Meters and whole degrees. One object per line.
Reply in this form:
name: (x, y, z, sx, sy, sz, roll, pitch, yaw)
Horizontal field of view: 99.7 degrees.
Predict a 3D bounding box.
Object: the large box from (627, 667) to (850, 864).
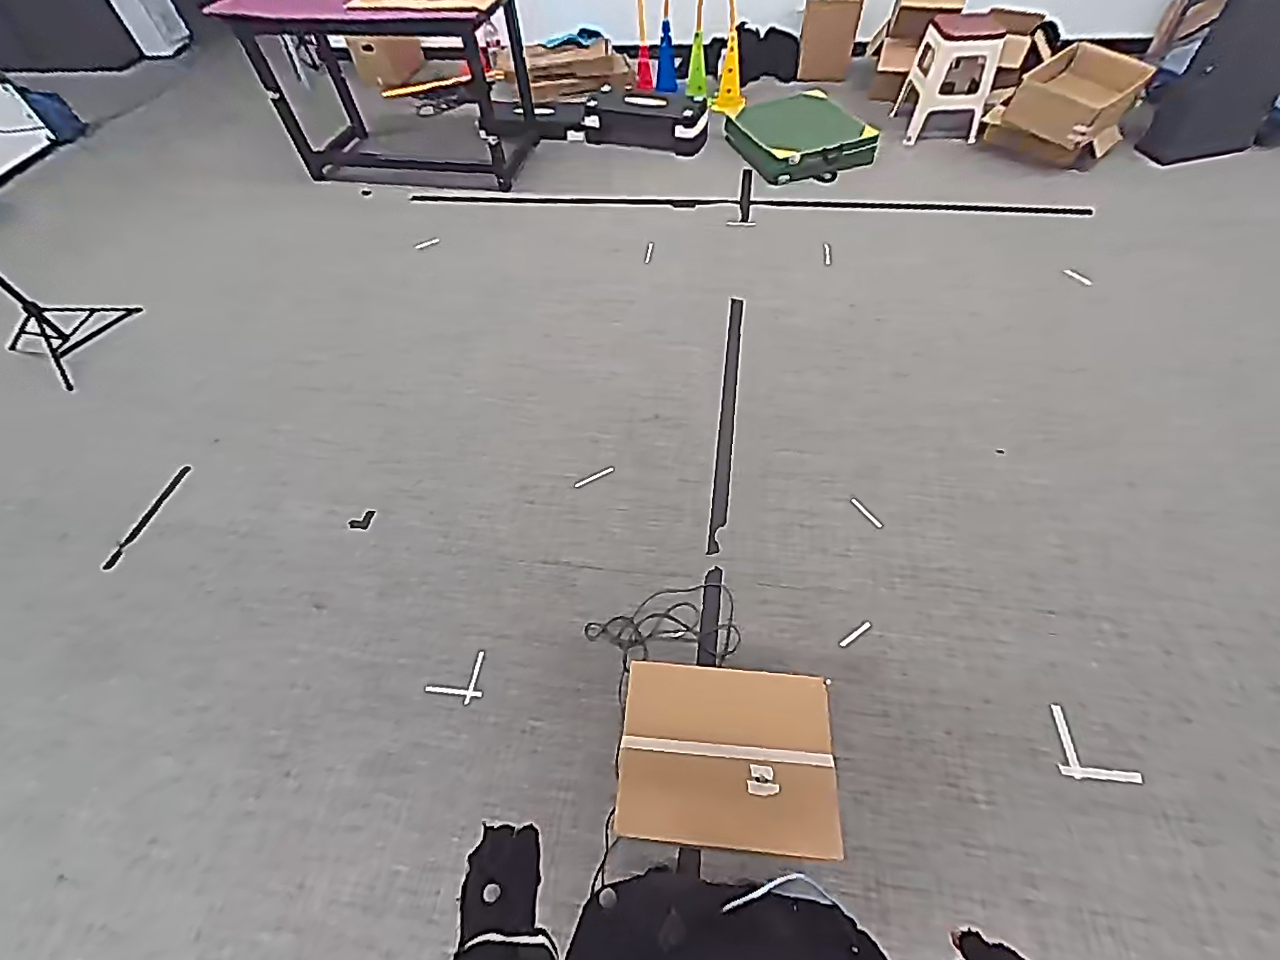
large box: (0.188, 0.618, 1.163, 0.408, 0.320, 0.320, 4, 56, 5)
